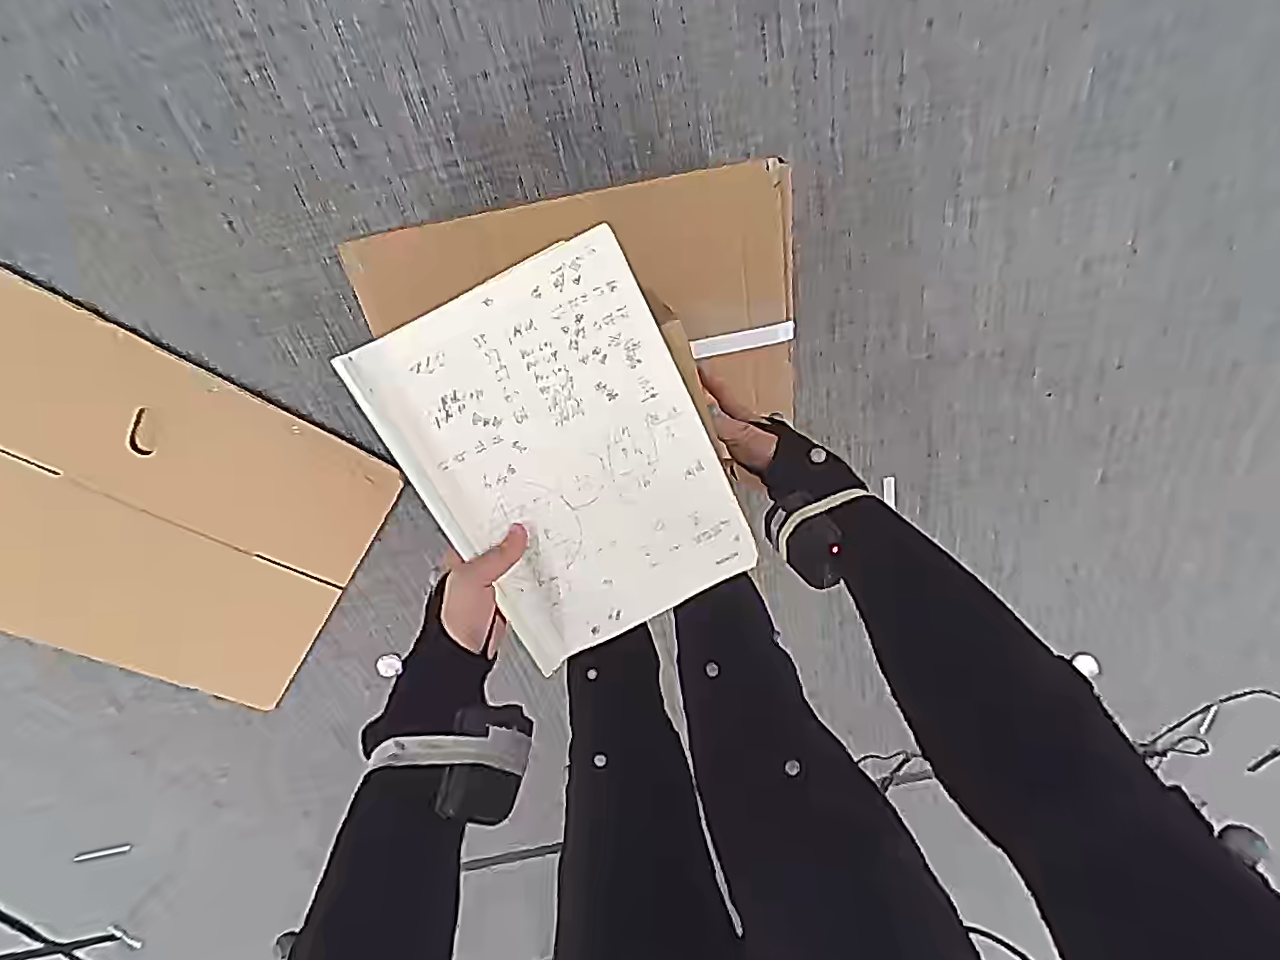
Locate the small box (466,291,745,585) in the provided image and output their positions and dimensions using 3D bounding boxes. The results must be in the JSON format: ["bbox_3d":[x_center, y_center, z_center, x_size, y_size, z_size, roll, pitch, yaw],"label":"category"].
[{"bbox_3d":[-0.026,-0.046,0.475,0.168,0.176,0.179,-21,117,2],"label":"small box"}]
